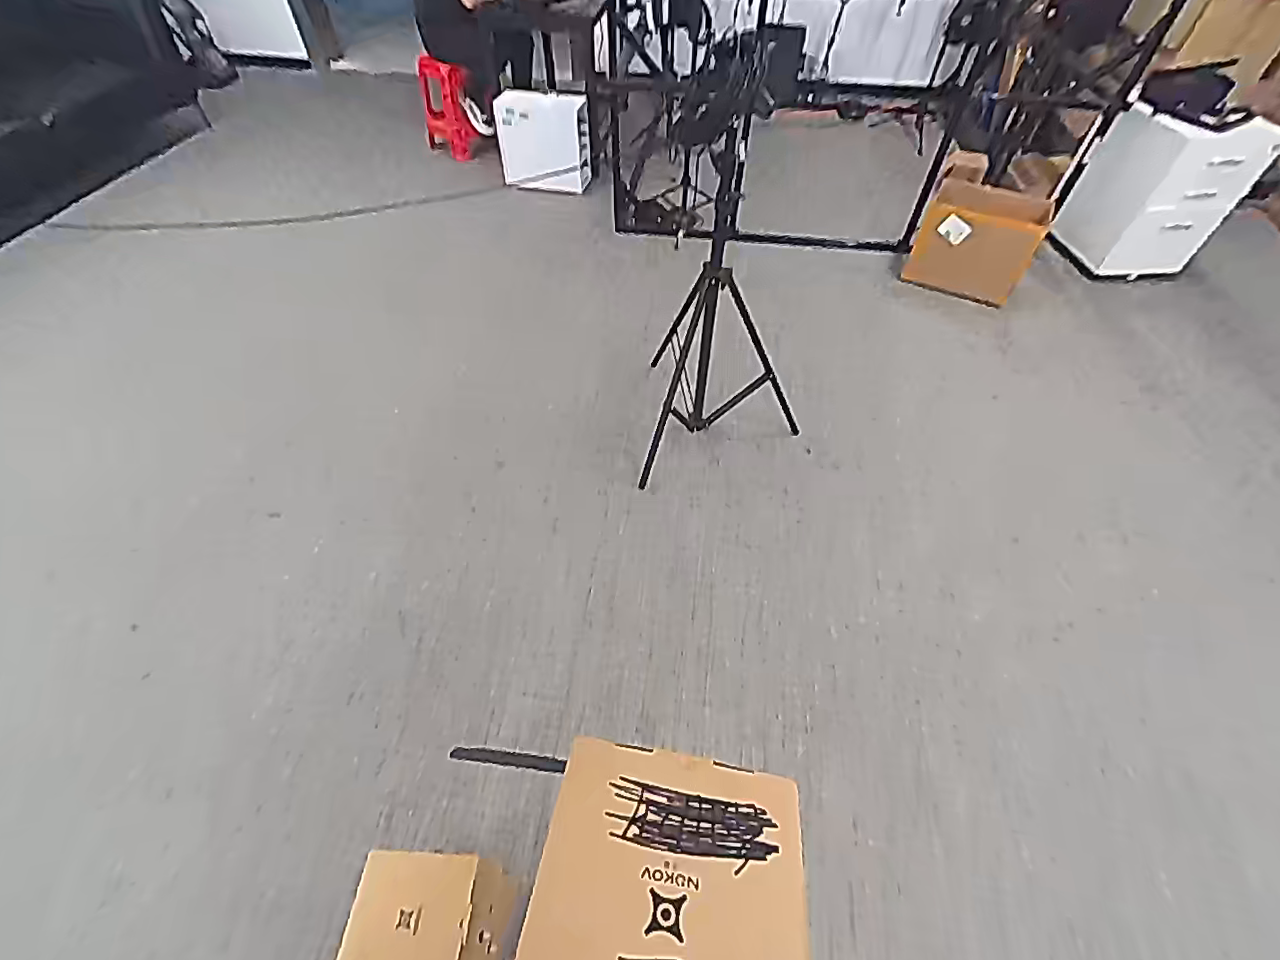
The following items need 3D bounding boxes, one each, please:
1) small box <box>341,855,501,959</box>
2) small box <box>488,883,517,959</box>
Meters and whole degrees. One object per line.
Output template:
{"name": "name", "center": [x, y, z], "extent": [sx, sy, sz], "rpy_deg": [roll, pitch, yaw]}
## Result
{"name": "small box", "center": [-0.333, 0.700, 0.843], "extent": [0.179, 0.176, 0.168], "rpy_deg": [2, 50, 1]}
{"name": "small box", "center": [-0.330, 0.812, 0.962], "extent": [0.168, 0.176, 0.179], "rpy_deg": [8, 50, 6]}
